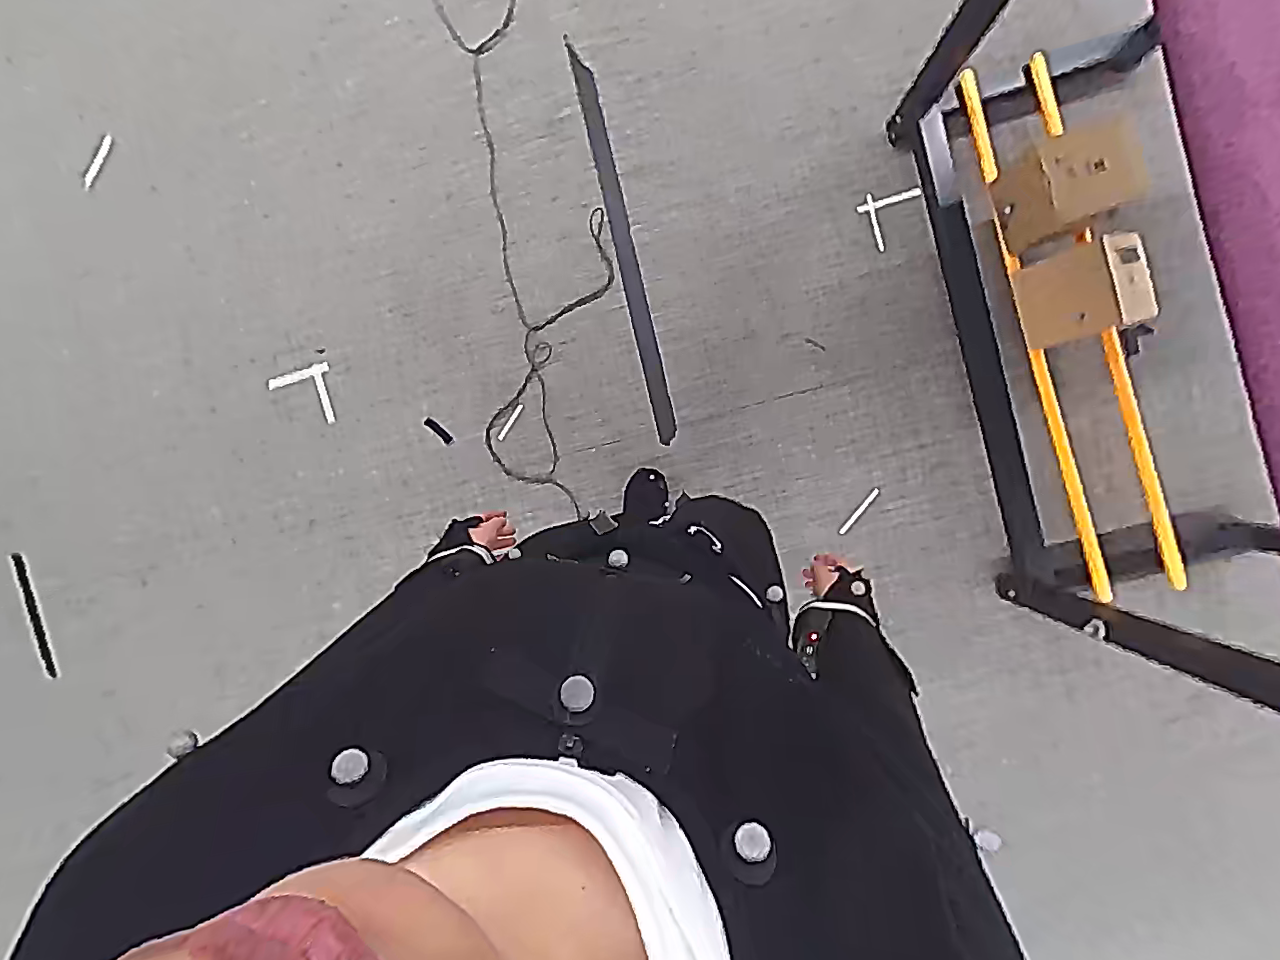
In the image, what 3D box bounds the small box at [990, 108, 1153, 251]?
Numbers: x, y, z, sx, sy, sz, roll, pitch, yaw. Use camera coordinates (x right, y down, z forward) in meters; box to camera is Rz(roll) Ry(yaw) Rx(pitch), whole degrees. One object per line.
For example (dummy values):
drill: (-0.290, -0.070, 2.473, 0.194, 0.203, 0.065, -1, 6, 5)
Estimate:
small box: (0.855, -0.593, 1.089, 0.179, 0.176, 0.168, -17, 91, 6)
